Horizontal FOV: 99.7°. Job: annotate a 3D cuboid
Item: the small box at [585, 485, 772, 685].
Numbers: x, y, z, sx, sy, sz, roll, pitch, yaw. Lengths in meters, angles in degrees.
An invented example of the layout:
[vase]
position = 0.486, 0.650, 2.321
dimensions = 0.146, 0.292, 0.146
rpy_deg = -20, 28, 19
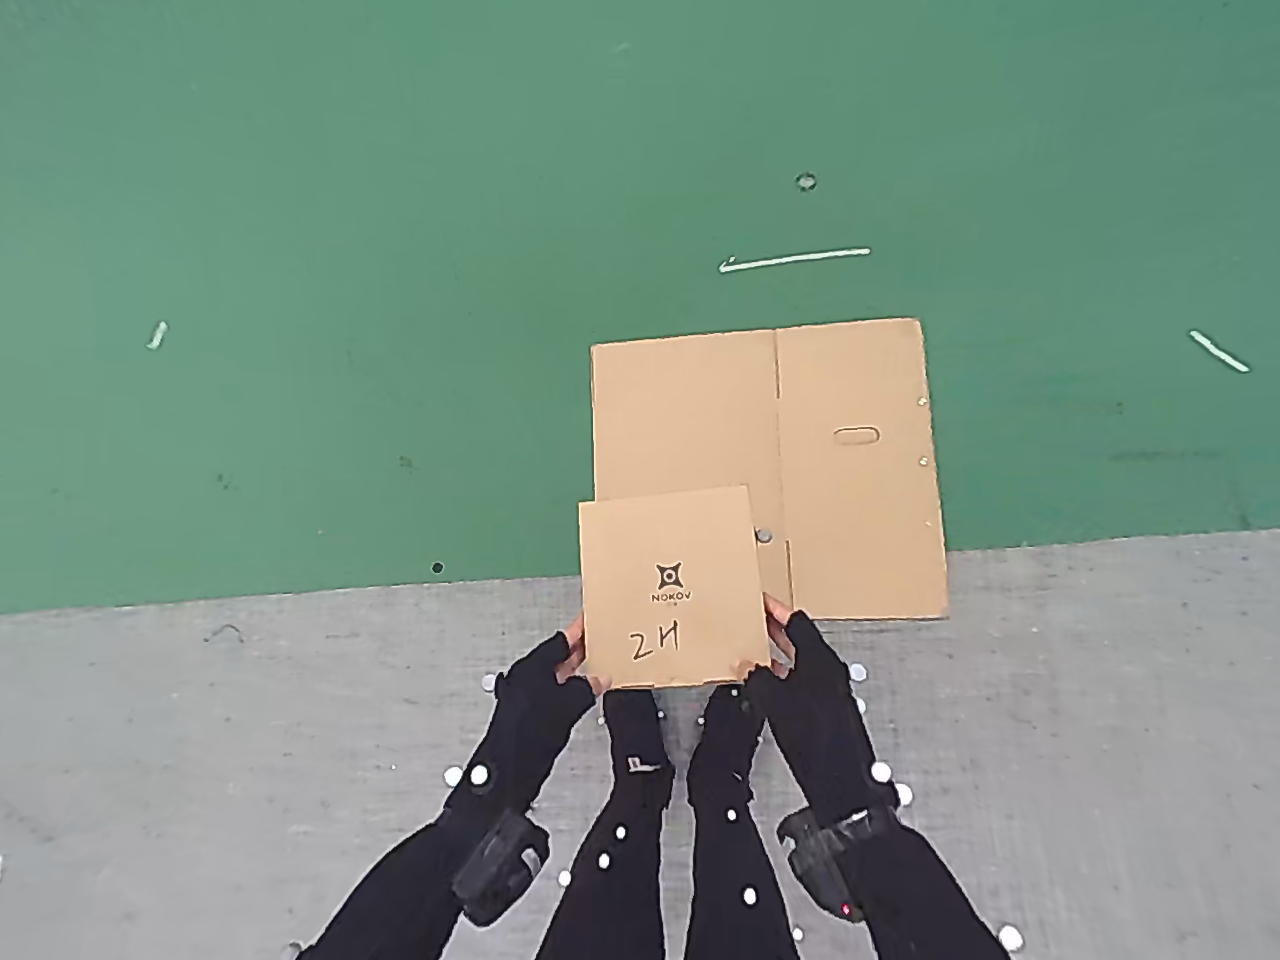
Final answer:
[small box]
position = 0.043, 0.113, 0.575
dimensions = 0.168, 0.176, 0.179
rpy_deg = -6, 76, 9
